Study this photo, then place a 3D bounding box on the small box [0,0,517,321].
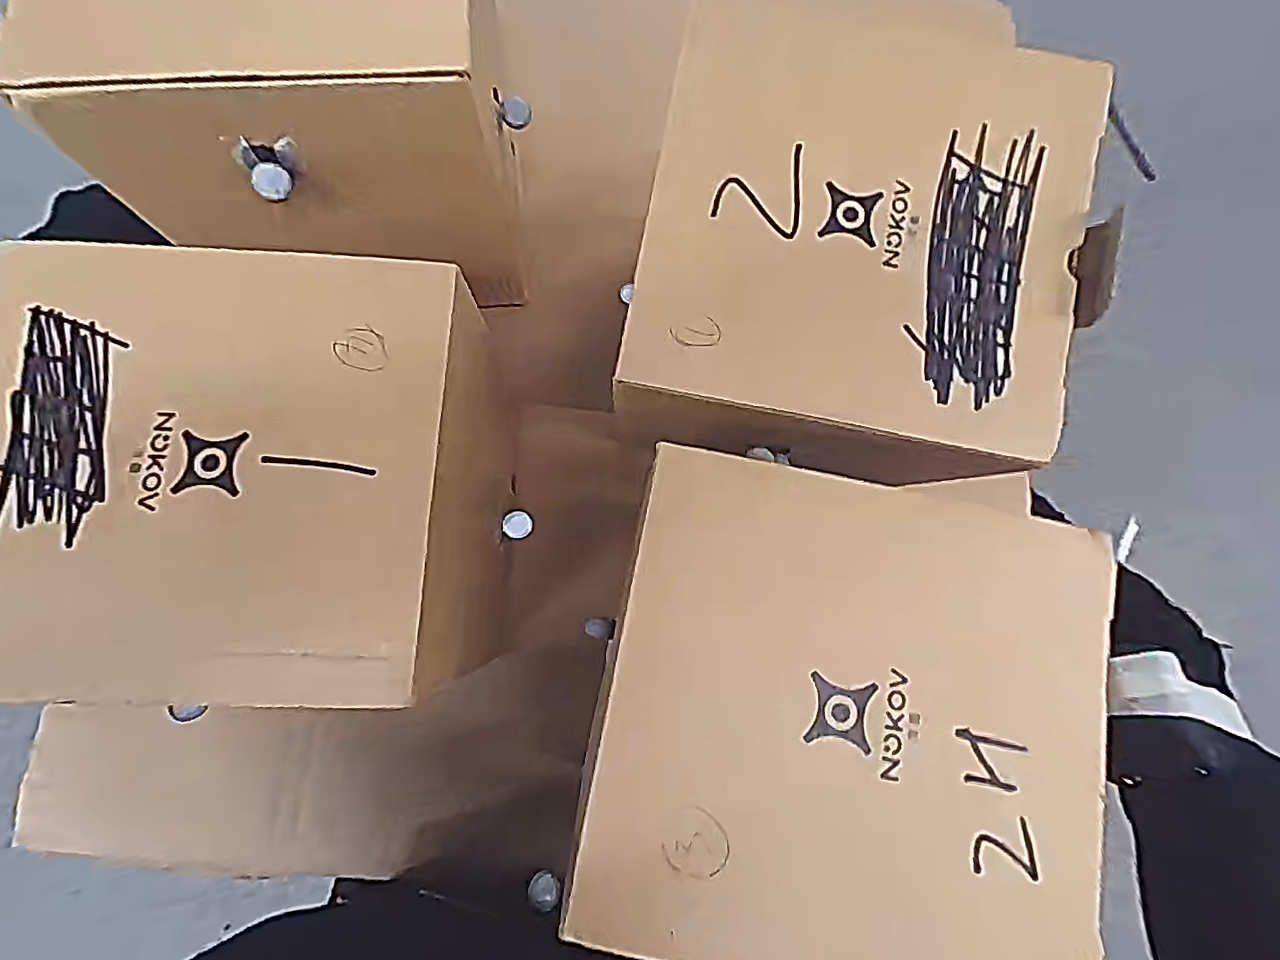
[{"bbox_3d":[-0.169,-0.207,0.305,0.179,0.176,0.168,-6,78,-4],"label":"small box"}]
